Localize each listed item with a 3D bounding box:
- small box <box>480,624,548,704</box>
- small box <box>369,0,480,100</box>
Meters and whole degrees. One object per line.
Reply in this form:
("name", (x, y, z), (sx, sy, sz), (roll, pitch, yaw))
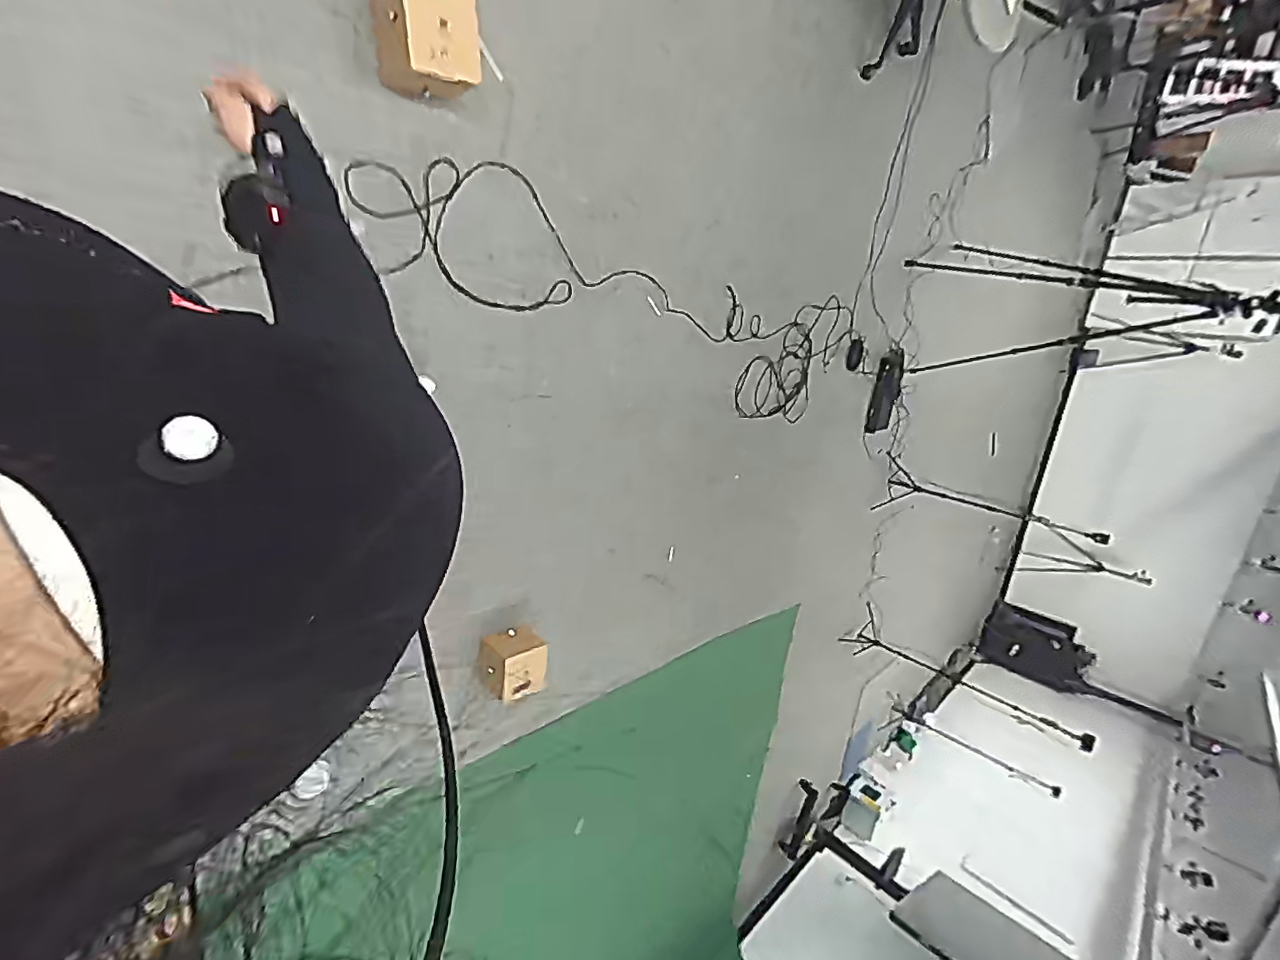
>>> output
("small box", (-0.438, 0.629, 1.869), (0.168, 0.176, 0.179), (-7, 110, -44))
("small box", (-0.478, -0.975, 1.197), (0.168, 0.176, 0.179), (-19, 120, -40))
